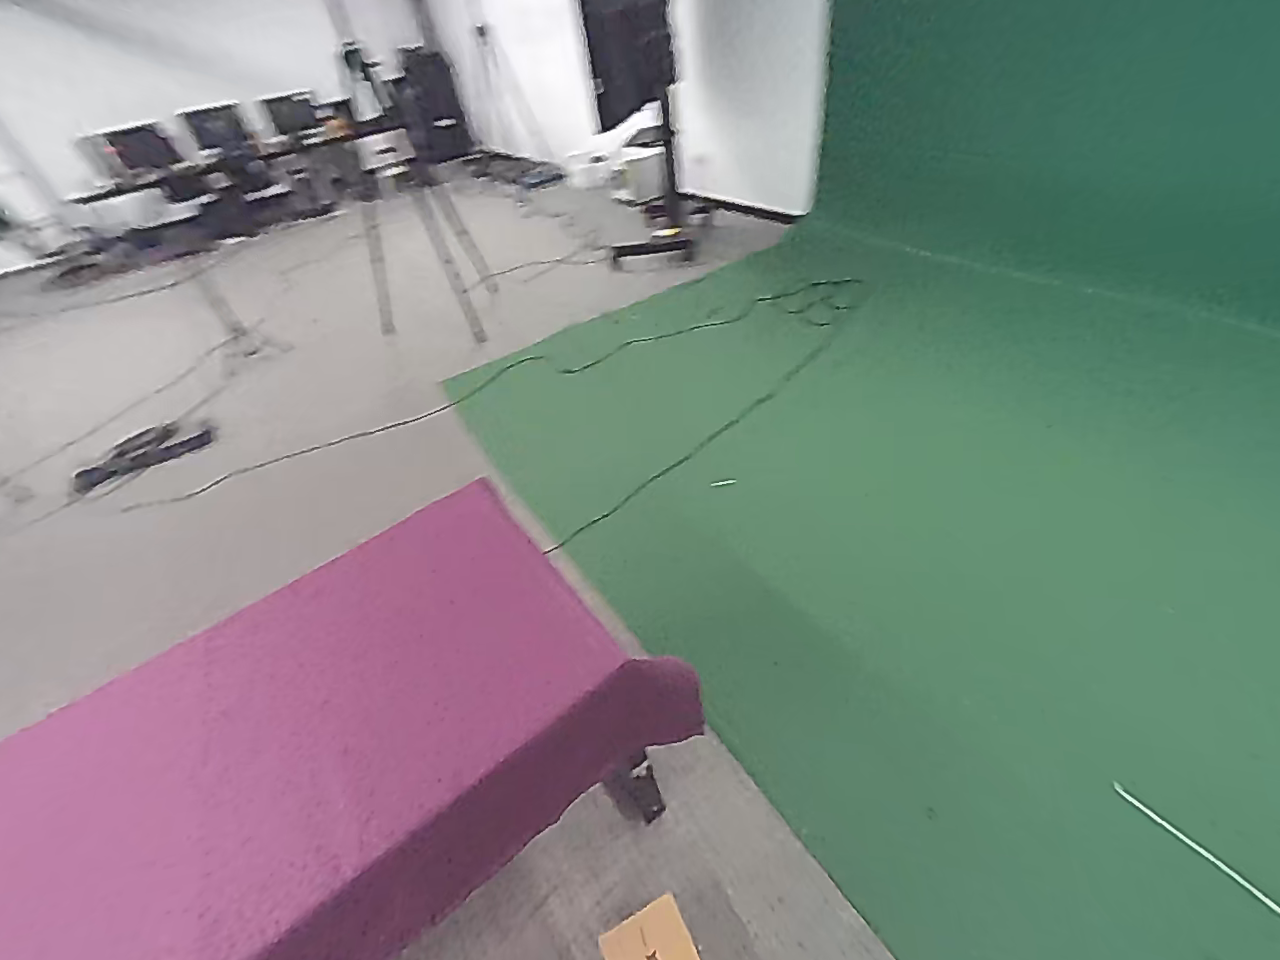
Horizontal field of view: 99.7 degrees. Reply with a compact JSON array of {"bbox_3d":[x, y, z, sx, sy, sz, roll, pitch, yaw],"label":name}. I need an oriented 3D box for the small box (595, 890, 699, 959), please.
[{"bbox_3d":[0.032,0.967,1.069,0.168,0.176,0.179,-23,42,-15],"label":"small box"}]
